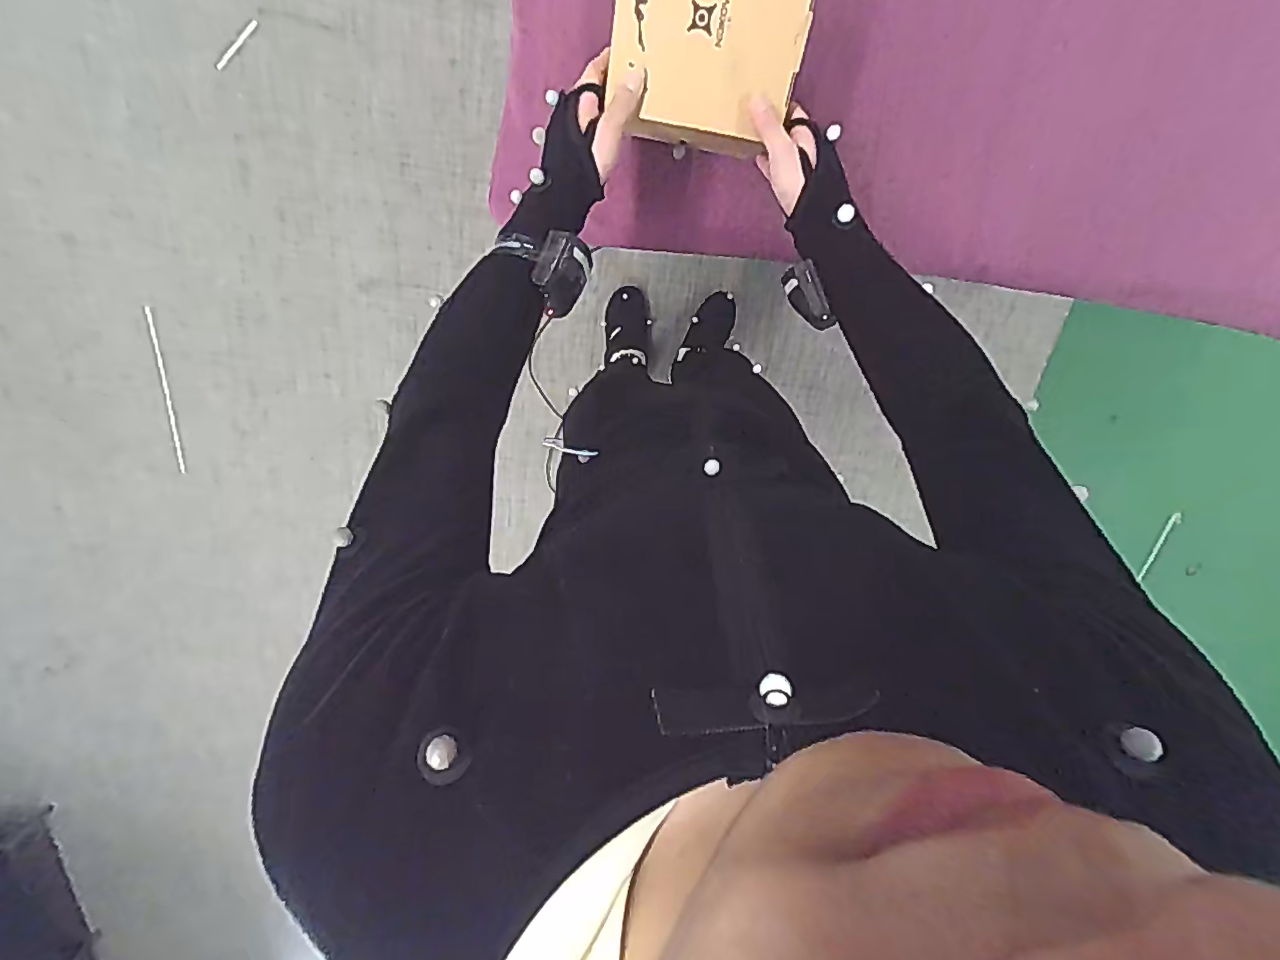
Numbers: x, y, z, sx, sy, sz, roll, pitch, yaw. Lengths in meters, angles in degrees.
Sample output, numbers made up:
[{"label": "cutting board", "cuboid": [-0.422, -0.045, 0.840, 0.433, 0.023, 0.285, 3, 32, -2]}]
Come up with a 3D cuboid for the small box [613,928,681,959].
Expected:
[{"label": "small box", "cuboid": [0.020, 1.412, 1.528, 0.179, 0.176, 0.168, 9, 110, -5]}]

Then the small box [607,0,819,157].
[{"label": "small box", "cuboid": [0.065, -0.442, 0.555, 0.179, 0.176, 0.168, 8, 116, -6]}]
